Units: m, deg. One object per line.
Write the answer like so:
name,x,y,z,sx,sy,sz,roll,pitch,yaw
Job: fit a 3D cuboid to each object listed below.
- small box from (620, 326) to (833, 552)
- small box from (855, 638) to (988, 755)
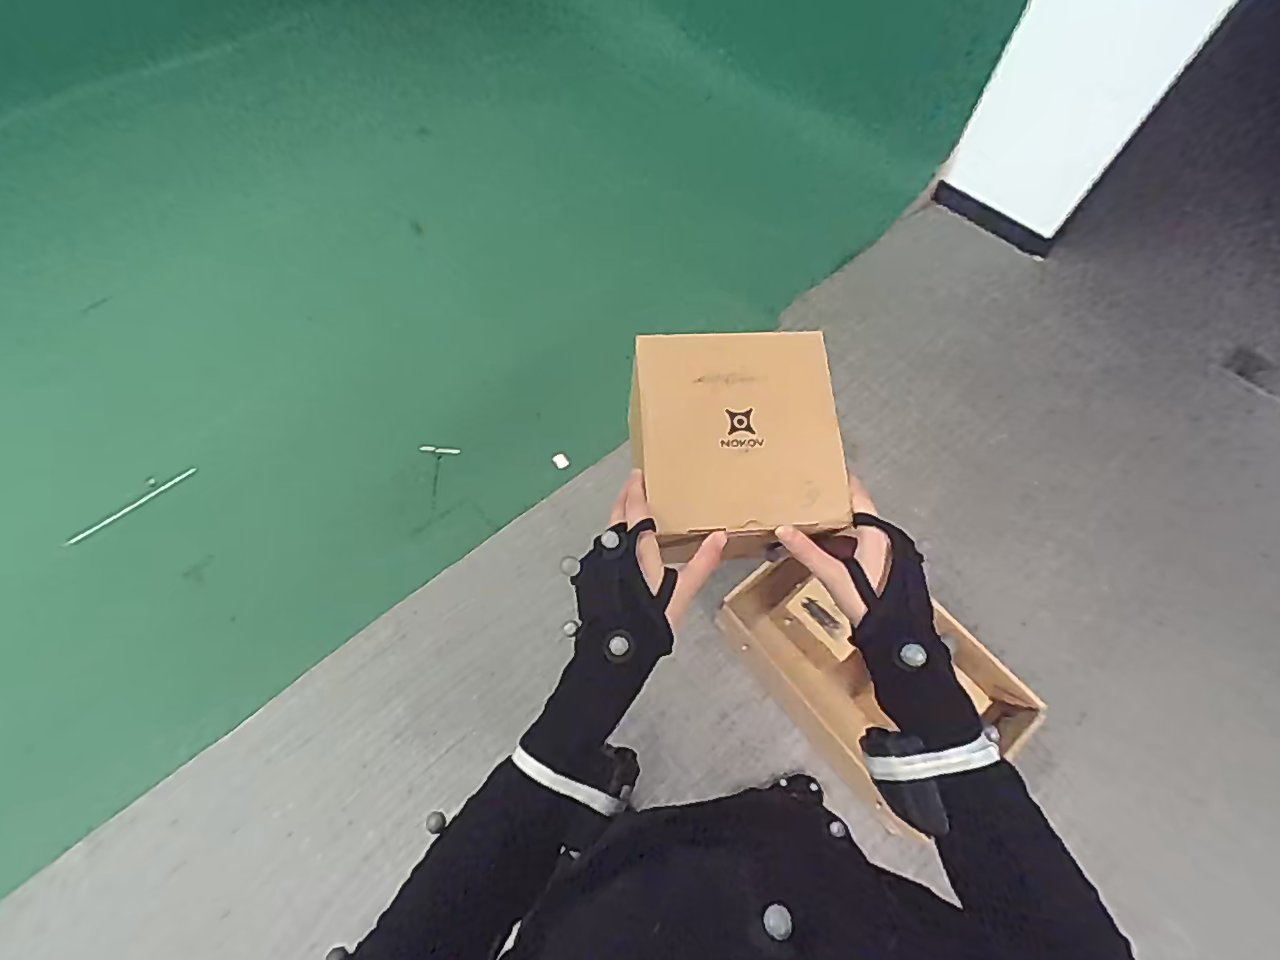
small box,0.066,-0.027,0.525,0.168,0.176,0.179,-3,73,-3
small box,0.617,0.485,1.211,0.179,0.176,0.168,-36,67,-14
